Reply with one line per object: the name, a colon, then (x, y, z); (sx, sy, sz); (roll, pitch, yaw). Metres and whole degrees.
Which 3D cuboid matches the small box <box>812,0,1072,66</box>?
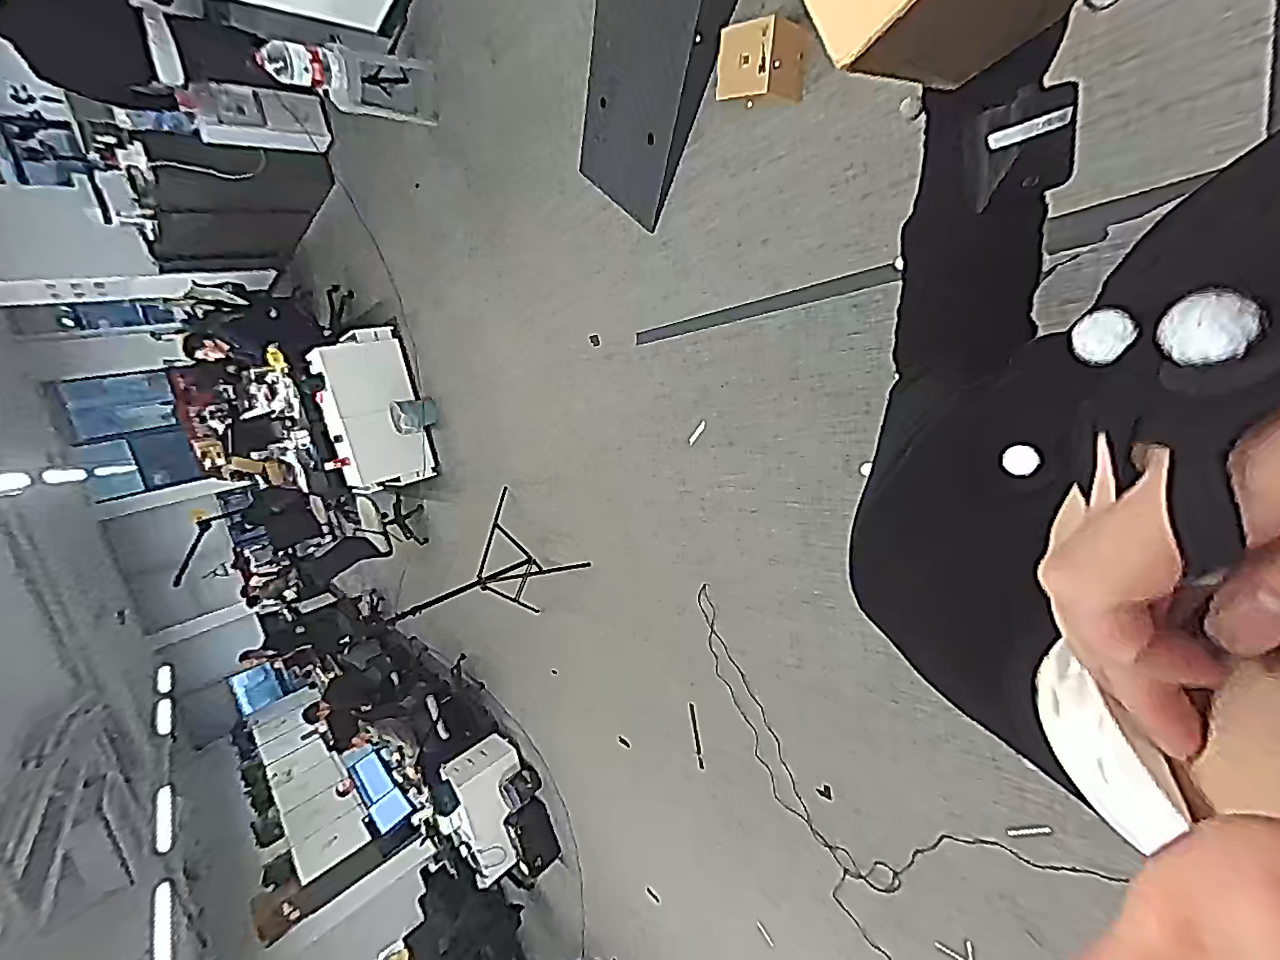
small box: (0.146, -0.300, 0.205); (0.168, 0.176, 0.179); (-22, 97, 52)
